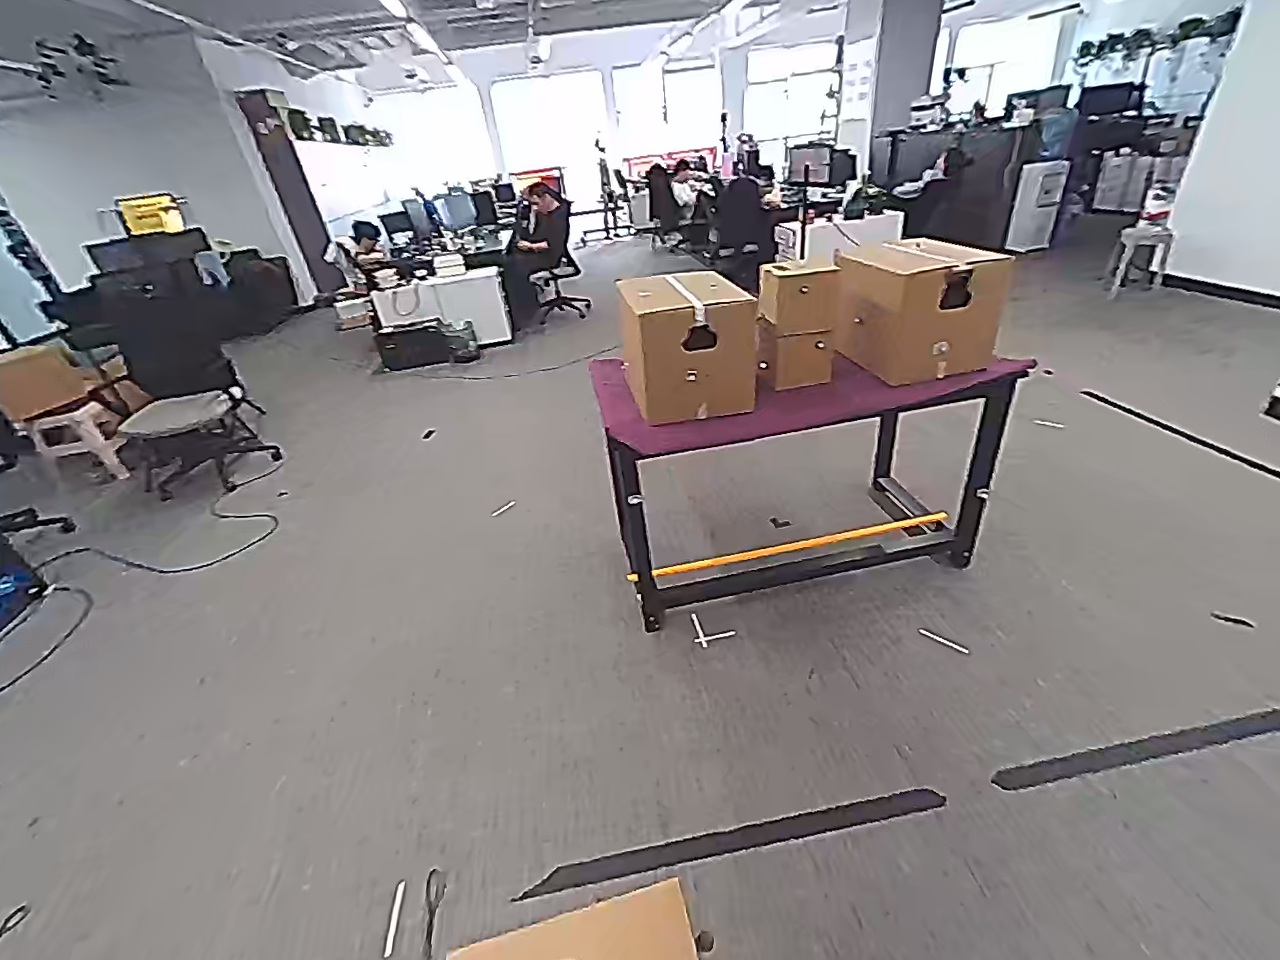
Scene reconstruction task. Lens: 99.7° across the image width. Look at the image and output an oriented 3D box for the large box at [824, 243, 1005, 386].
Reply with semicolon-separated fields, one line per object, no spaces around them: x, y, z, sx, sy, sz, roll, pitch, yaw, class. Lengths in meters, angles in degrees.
0.798;-0.515;1.646;0.320;0.320;0.408;-11;30;-6;large box
